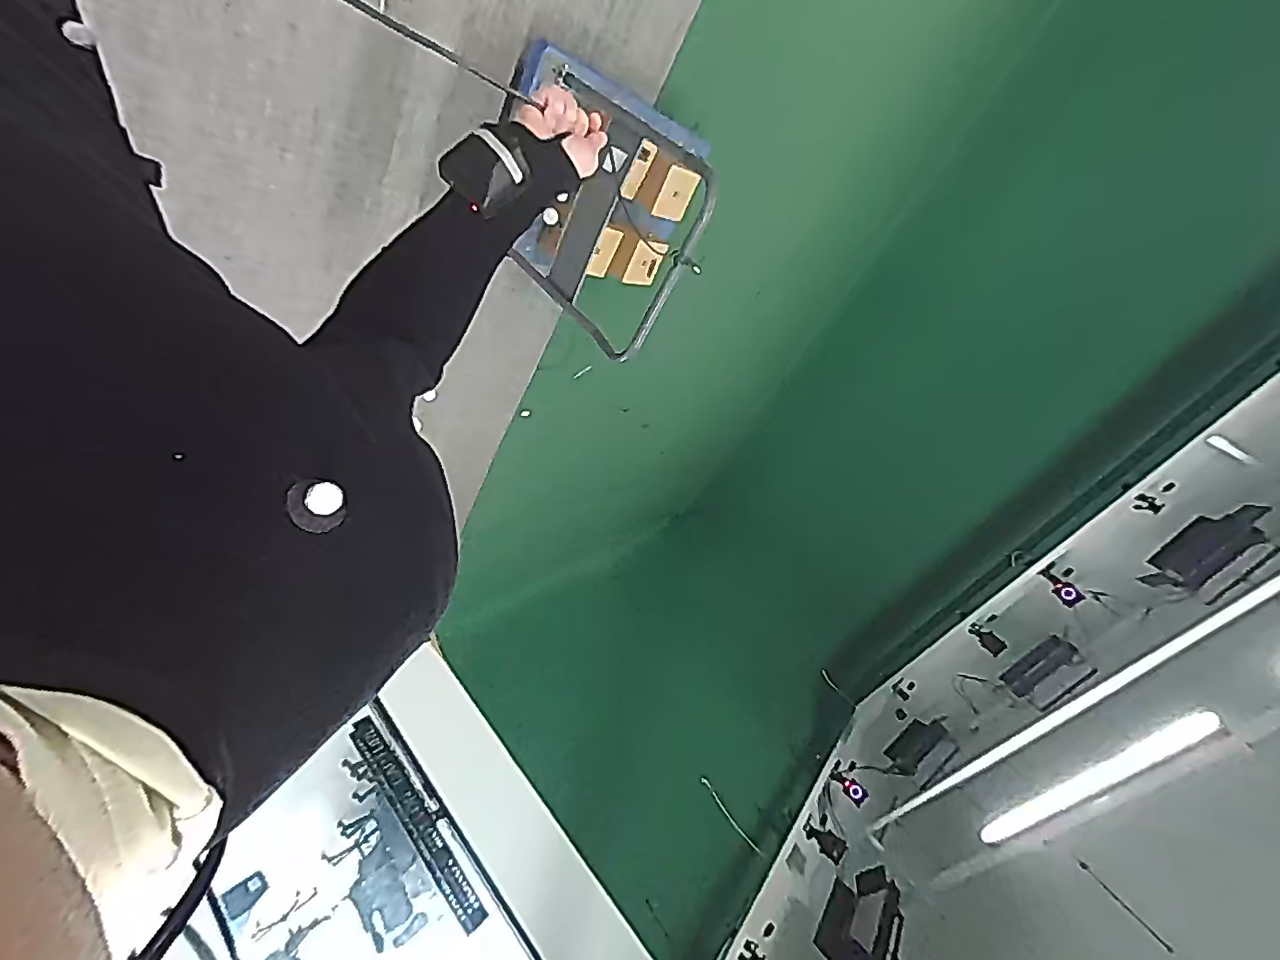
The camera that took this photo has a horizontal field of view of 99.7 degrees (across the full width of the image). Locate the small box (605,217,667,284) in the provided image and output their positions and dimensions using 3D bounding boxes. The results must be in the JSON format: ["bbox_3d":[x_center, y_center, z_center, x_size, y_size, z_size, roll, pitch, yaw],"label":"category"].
[{"bbox_3d":[-0.039,-0.856,2.018,0.179,0.176,0.168,-17,145,-48],"label":"small box"}]

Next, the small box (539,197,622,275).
[{"bbox_3d":[-0.200,-0.814,1.805,0.179,0.176,0.168,-13,143,-52],"label":"small box"}]

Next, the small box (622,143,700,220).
[{"bbox_3d":[0.067,-1.036,1.878,0.179,0.176,0.168,-18,148,-49],"label":"small box"}]
